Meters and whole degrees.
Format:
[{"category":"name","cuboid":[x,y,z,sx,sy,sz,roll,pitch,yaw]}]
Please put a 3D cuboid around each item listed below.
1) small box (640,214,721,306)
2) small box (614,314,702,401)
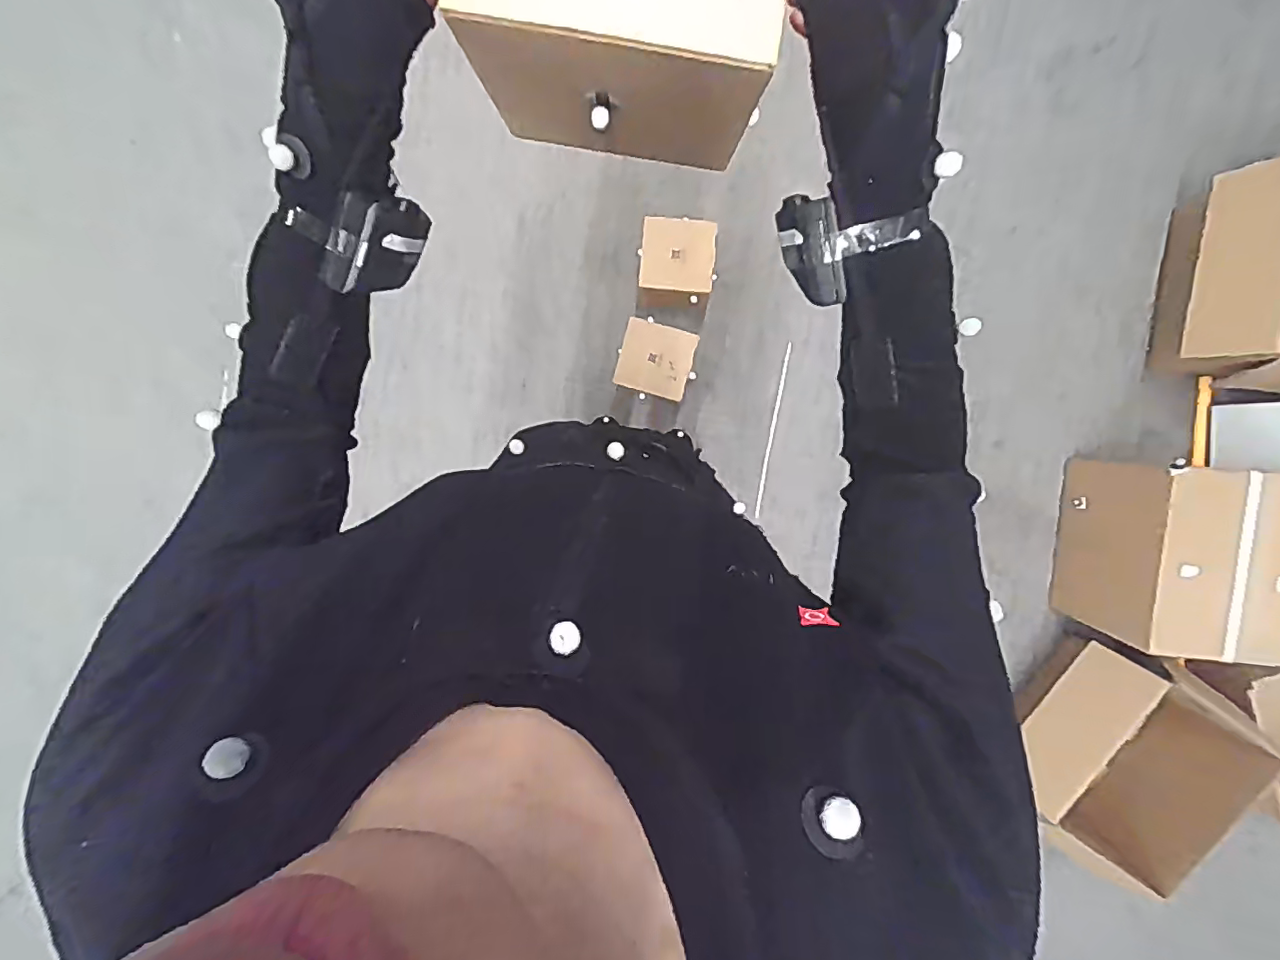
[{"category":"small box","cuboid":[0.098,-0.538,1.341,0.179,0.176,0.168,5,95,2]},{"category":"small box","cuboid":[0.046,-0.299,1.363,0.179,0.176,0.168,16,96,1]}]
